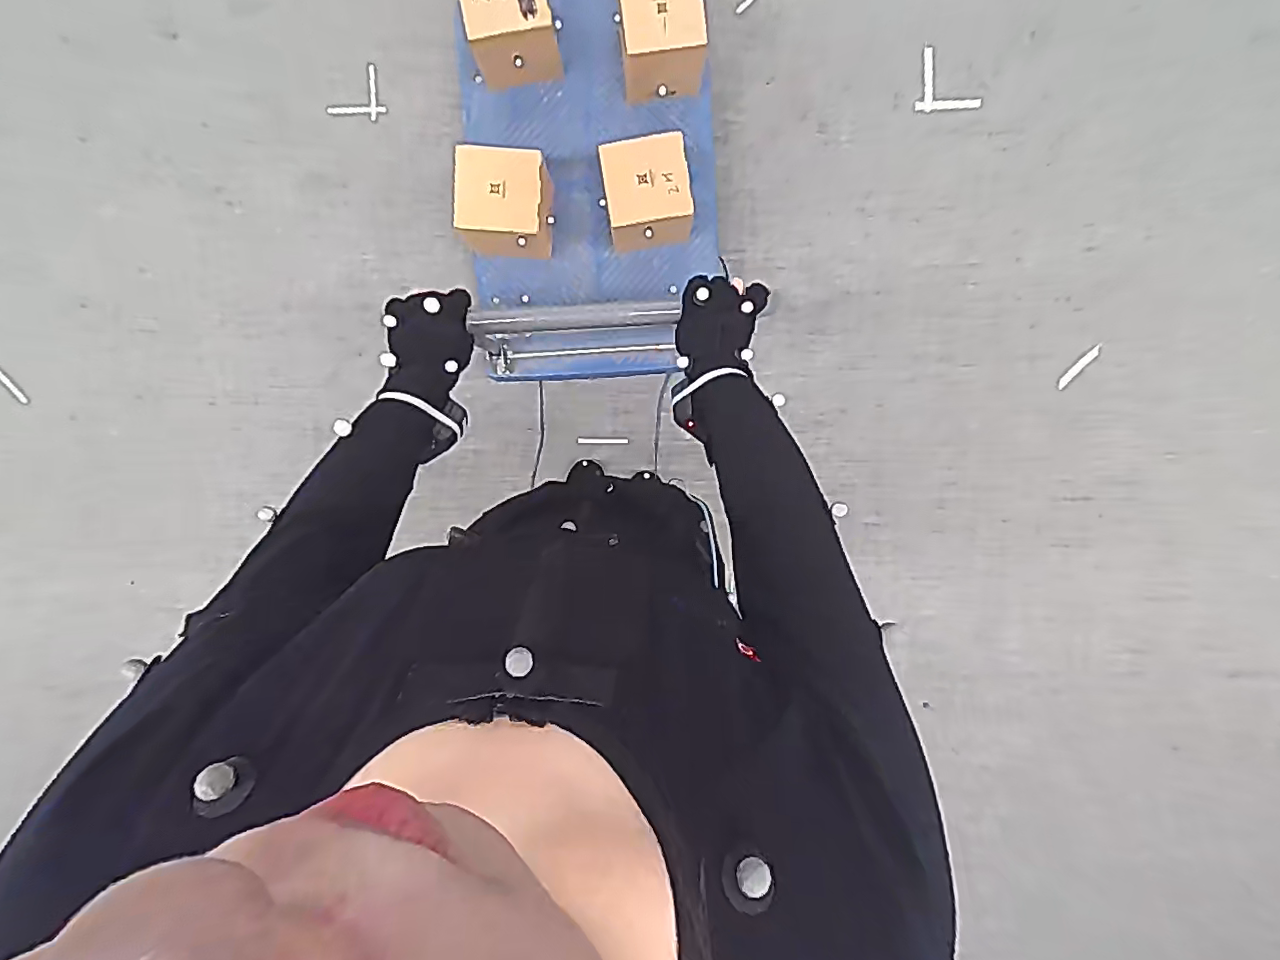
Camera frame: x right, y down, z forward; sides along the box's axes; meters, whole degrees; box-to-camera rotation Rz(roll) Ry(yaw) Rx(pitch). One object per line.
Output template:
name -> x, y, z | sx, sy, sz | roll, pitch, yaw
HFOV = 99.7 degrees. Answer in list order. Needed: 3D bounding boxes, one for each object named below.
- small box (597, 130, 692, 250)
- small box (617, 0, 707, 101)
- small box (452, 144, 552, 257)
small box -> 0.012, -0.618, 1.175 | 0.179, 0.176, 0.168 | -10, 95, 1
small box -> 0.041, -0.953, 1.148 | 0.168, 0.176, 0.179 | -8, 96, 1
small box -> -0.293, -0.598, 1.177 | 0.179, 0.176, 0.168 | 3, 94, -2
